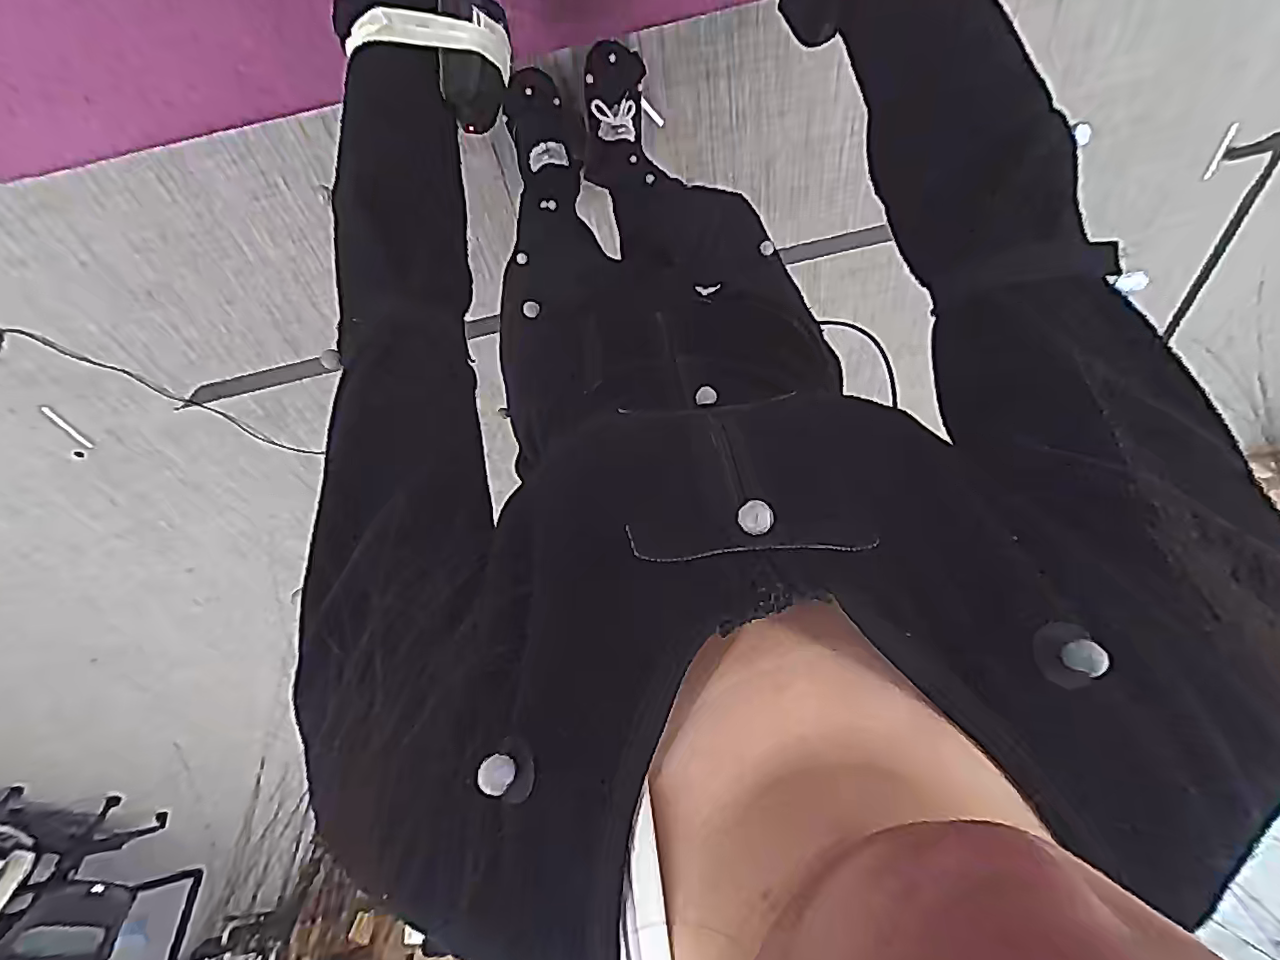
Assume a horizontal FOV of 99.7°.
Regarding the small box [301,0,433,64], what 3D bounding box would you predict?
[{"bbox_3d":[-0.450,-0.806,0.872,0.168,0.176,0.179,-14,135,-2],"label":"small box"}]
